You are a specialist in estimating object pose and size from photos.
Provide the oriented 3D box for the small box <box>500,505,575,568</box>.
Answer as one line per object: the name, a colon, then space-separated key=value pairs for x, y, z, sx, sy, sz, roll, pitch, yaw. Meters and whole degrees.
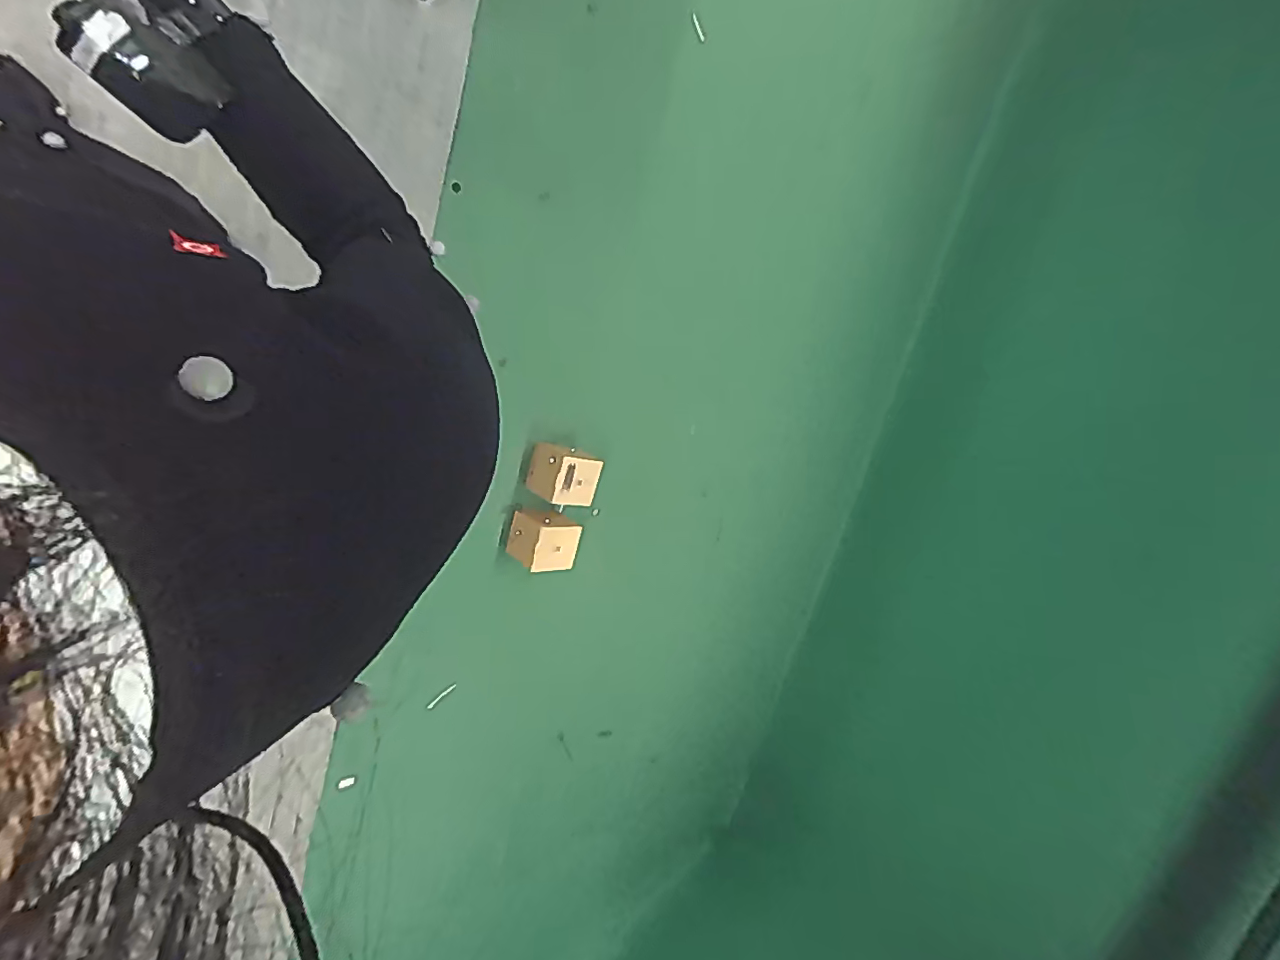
small box: x=-0.362 y=0.194 z=1.901 sx=0.179 sy=0.176 sz=0.168 roll=4 pitch=107 yaw=-46
